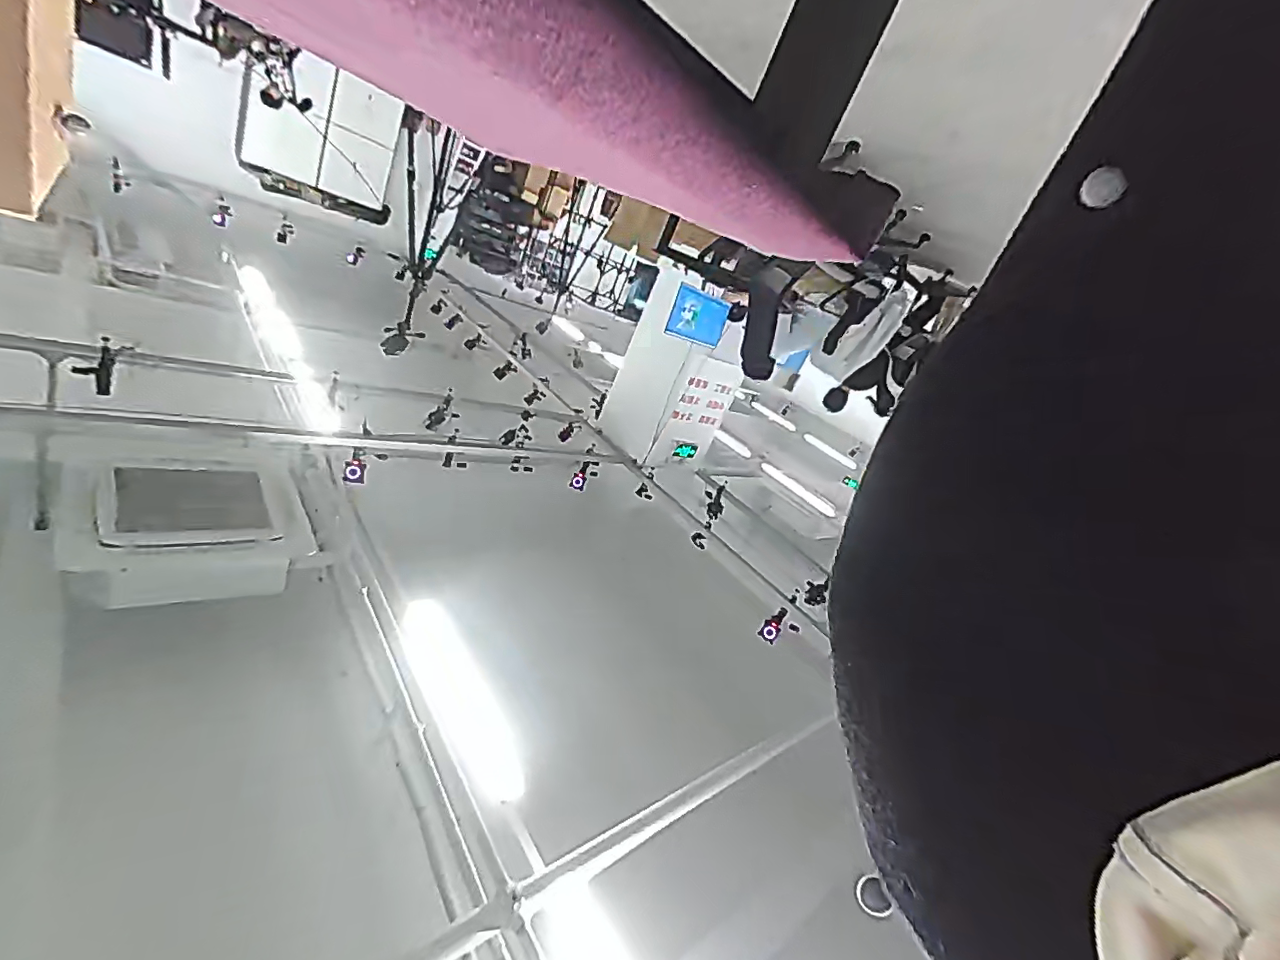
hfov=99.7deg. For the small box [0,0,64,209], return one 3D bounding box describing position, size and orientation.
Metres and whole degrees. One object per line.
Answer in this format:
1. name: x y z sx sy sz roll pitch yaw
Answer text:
1. small box: -0.399 -0.263 0.257 0.168 0.176 0.179 2 -150 -43
